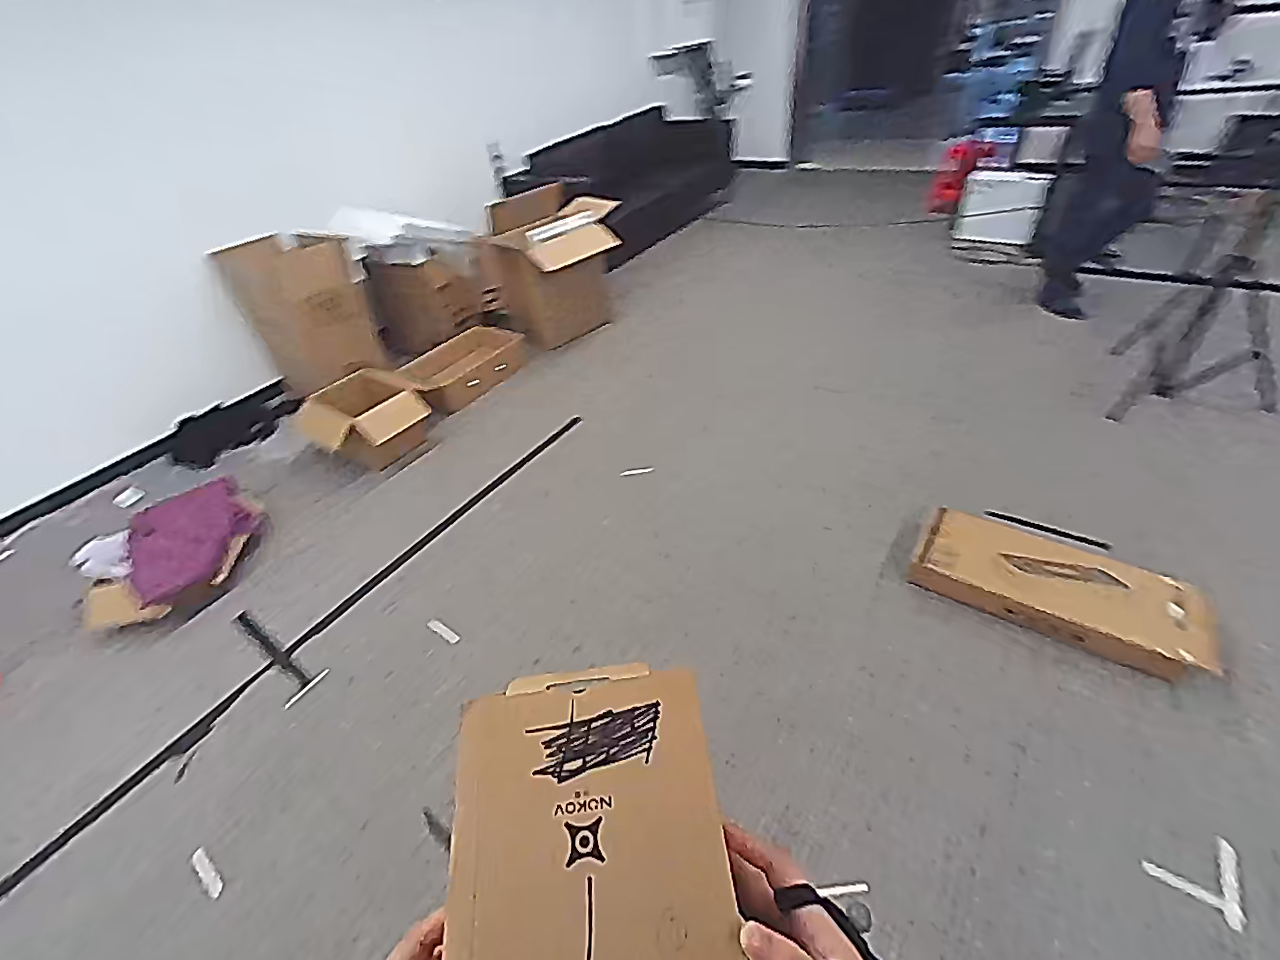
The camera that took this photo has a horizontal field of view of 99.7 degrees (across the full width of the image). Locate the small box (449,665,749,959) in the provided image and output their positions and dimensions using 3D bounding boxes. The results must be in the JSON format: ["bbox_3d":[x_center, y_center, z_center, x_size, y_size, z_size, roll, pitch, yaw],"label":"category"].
[{"bbox_3d":[-0.024,0.260,0.398,0.168,0.176,0.179,-7,51,0],"label":"small box"}]
